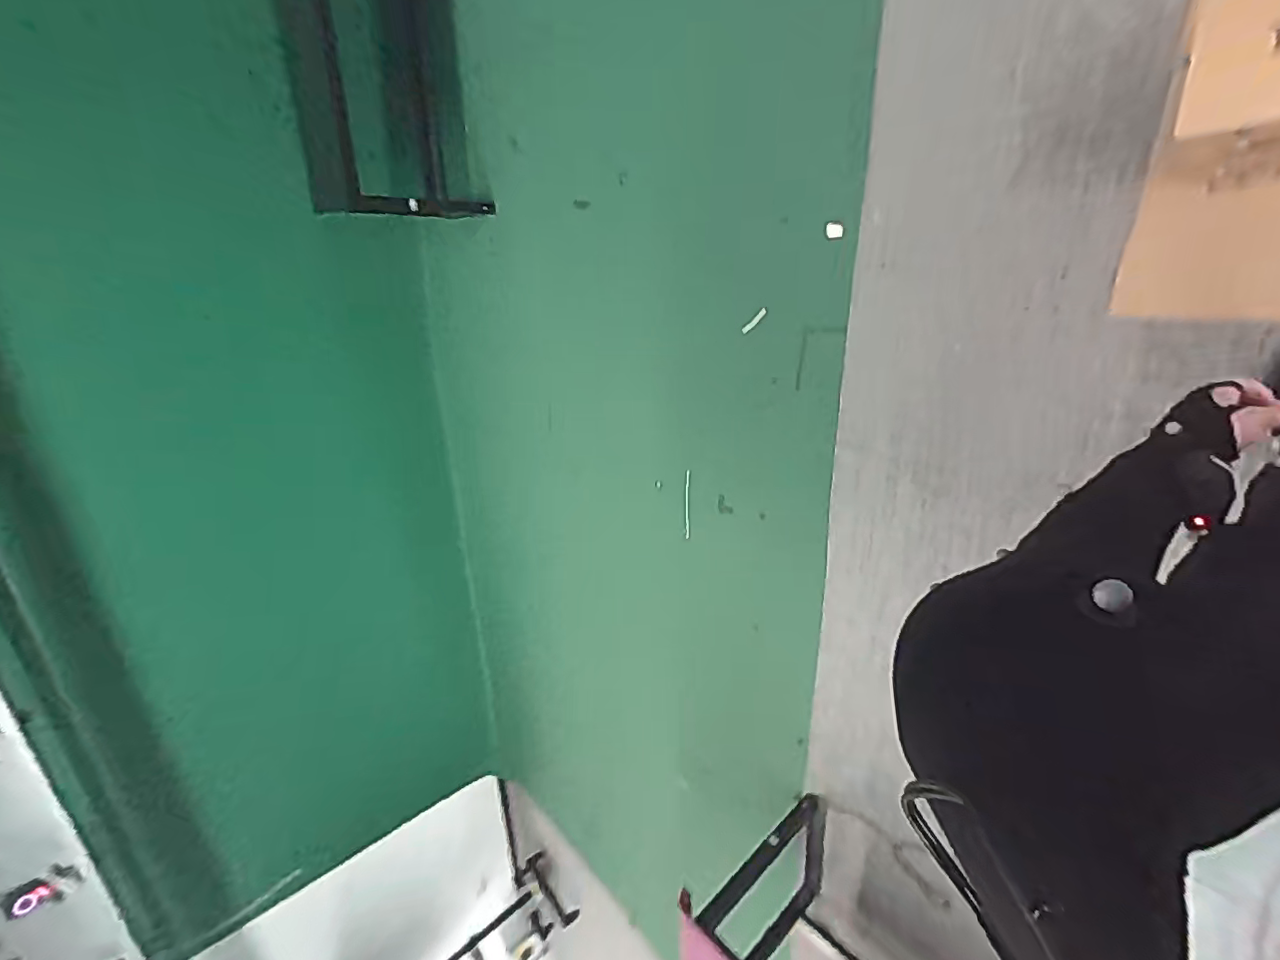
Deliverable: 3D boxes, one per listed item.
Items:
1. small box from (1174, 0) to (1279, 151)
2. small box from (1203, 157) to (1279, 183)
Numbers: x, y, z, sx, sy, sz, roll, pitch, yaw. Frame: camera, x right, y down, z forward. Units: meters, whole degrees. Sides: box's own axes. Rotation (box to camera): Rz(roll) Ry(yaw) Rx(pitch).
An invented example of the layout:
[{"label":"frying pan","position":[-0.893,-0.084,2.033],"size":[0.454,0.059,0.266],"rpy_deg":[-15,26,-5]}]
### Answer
[{"label":"small box","position":[0.807,-0.526,0.669],"size":[0.168,0.176,0.179],"rpy_deg":[17,115,47]},{"label":"small box","position":[1.047,-0.603,0.874],"size":[0.168,0.176,0.179],"rpy_deg":[11,113,48]}]
